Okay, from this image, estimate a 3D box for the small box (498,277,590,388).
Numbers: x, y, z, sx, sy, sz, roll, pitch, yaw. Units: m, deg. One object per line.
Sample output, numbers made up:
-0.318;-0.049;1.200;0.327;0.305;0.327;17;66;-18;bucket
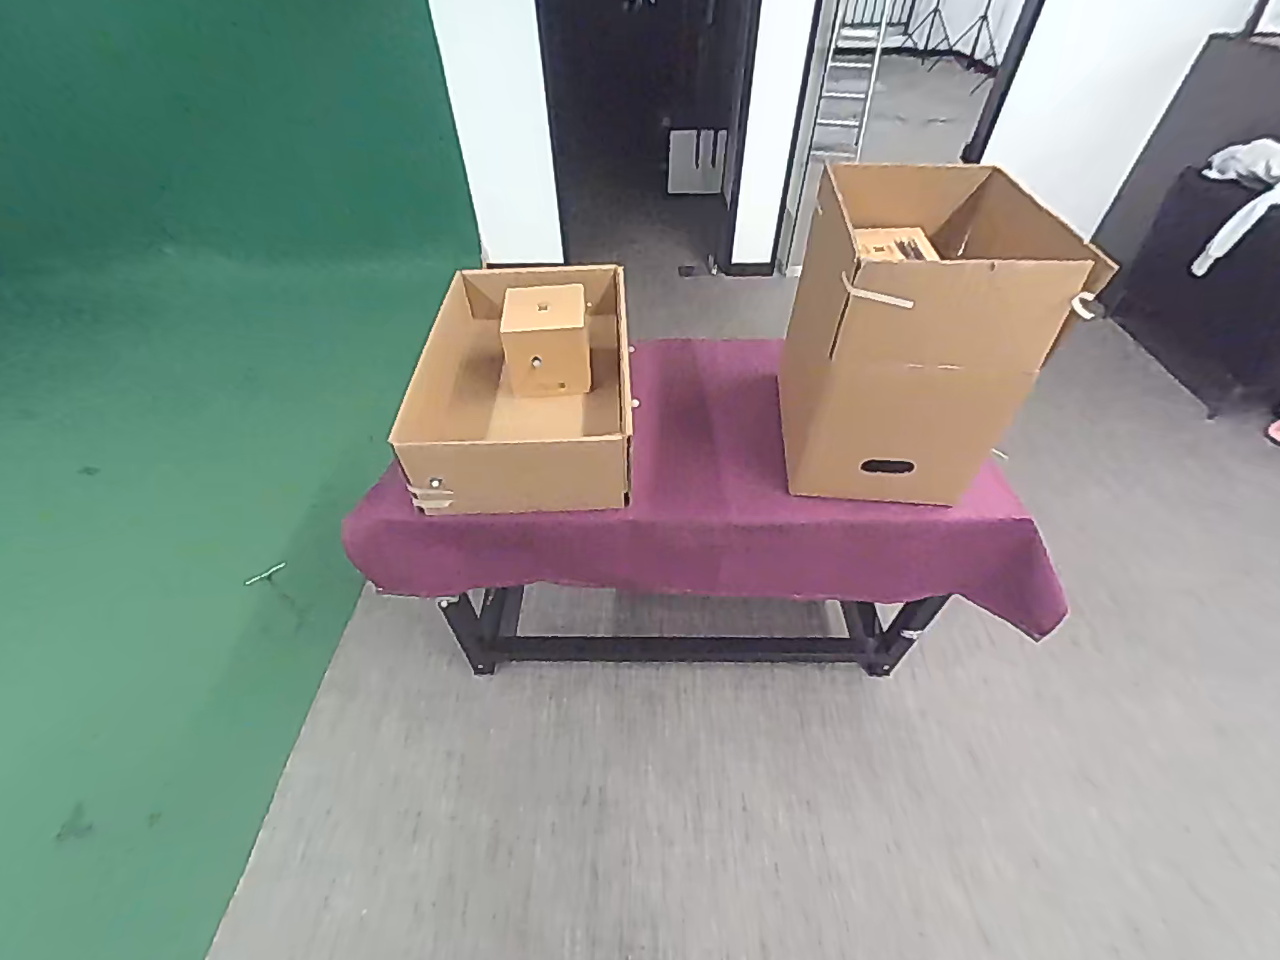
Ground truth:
-0.199;-0.310;1.162;0.168;0.176;0.179;-5;48;-2;small box
